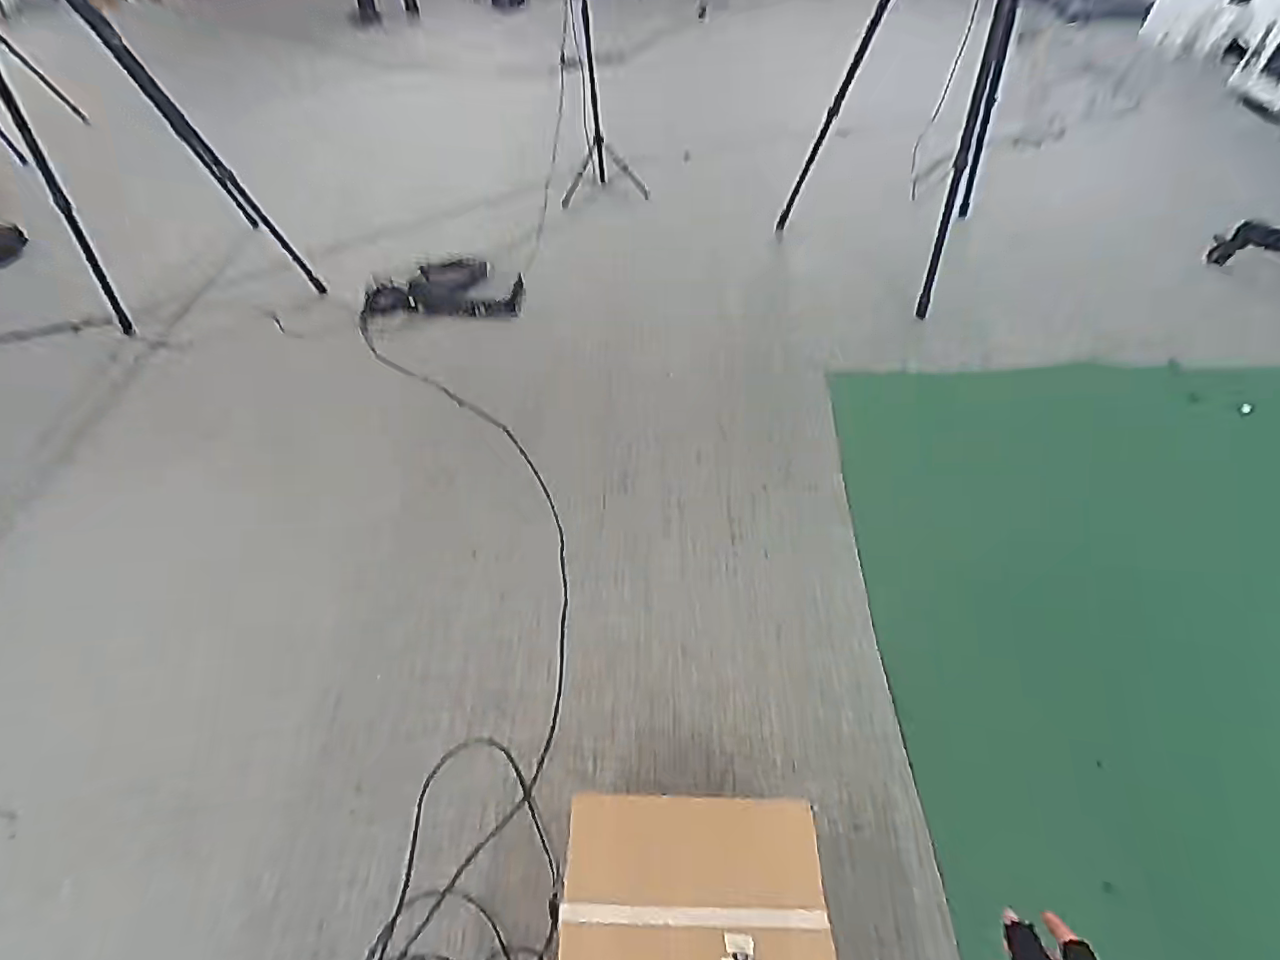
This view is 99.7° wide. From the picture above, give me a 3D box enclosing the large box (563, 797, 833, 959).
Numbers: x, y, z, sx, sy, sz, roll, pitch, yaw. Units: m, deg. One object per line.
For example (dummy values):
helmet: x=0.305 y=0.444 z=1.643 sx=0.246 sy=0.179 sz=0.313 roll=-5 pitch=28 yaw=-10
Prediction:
large box: x=0.088 y=0.756 z=0.940 sx=0.408 sy=0.320 sz=0.320 roll=0 pitch=53 yaw=2
